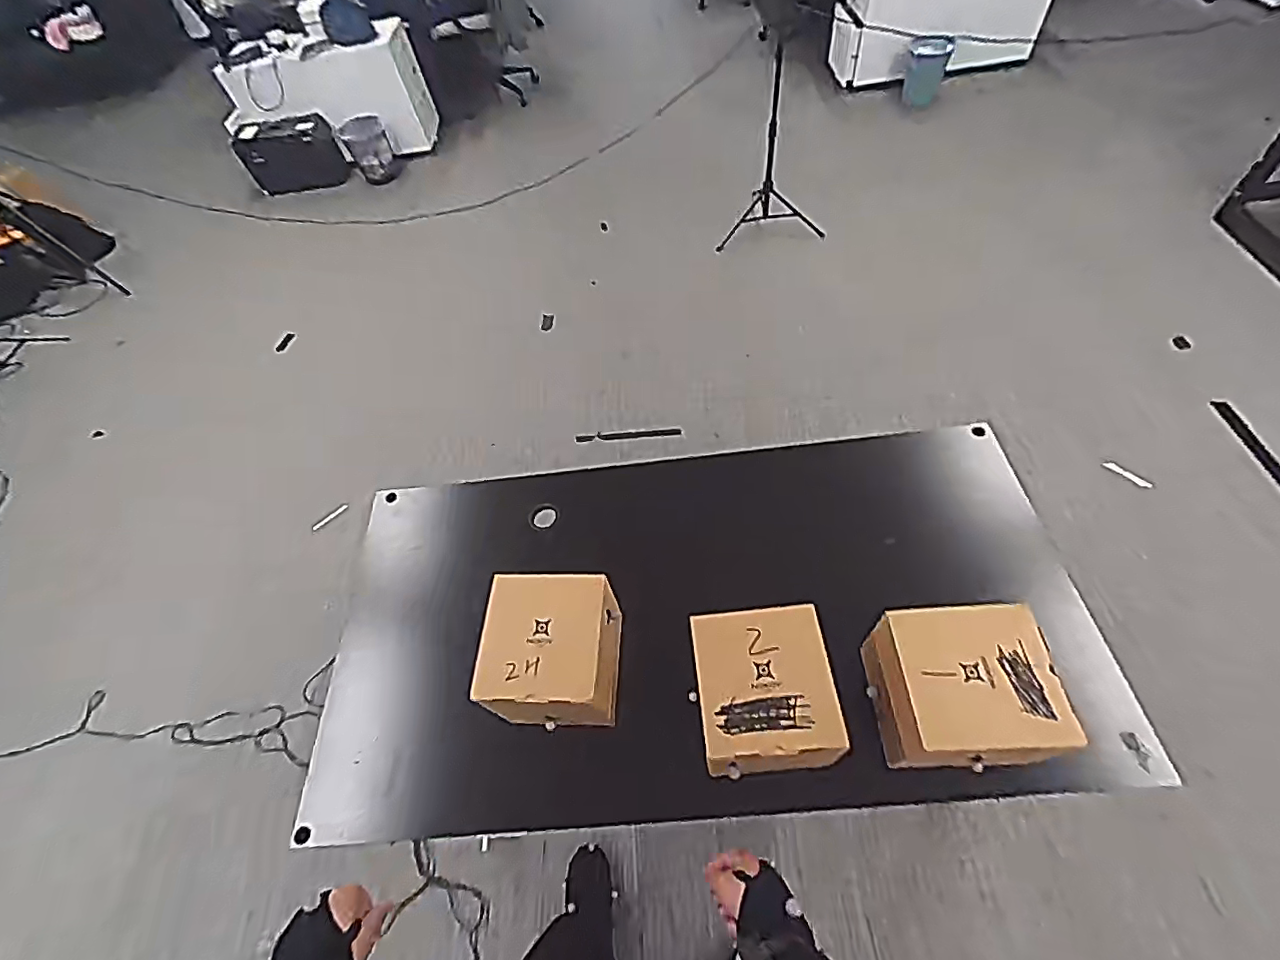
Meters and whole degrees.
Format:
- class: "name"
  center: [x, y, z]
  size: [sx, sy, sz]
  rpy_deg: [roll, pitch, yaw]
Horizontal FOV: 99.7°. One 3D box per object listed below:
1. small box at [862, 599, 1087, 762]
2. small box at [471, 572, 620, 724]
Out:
- class: "small box"
  center: [0.411, 0.266, 0.704]
  size: [0.179, 0.176, 0.168]
  rpy_deg: [-5, 56, 6]
- class: "small box"
  center: [-0.124, 0.249, 0.796]
  size: [0.168, 0.176, 0.179]
  rpy_deg: [-2, 57, 8]
